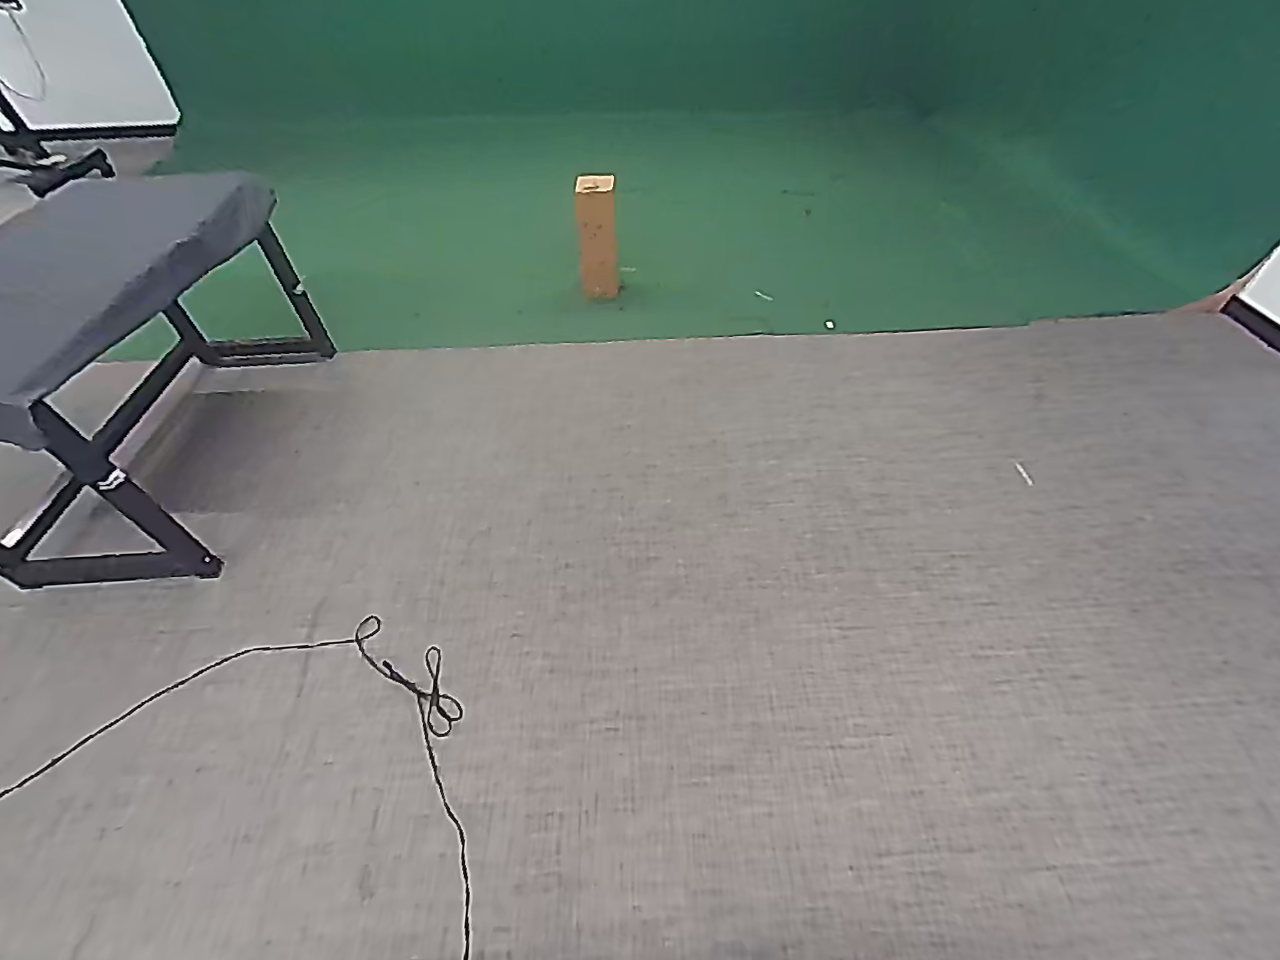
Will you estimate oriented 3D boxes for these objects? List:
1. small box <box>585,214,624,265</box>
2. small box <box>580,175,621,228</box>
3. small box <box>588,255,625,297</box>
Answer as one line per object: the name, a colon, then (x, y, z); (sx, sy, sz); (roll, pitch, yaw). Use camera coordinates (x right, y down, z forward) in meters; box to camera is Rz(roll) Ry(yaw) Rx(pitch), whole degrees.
small box: (-0.164, -1.141, 2.563); (0.168, 0.176, 0.179); (-1, 48, 2)
small box: (-0.173, -1.254, 2.443); (0.168, 0.176, 0.179); (0, 48, 2)
small box: (-0.163, -1.030, 2.683); (0.168, 0.176, 0.179); (-2, 50, 2)
